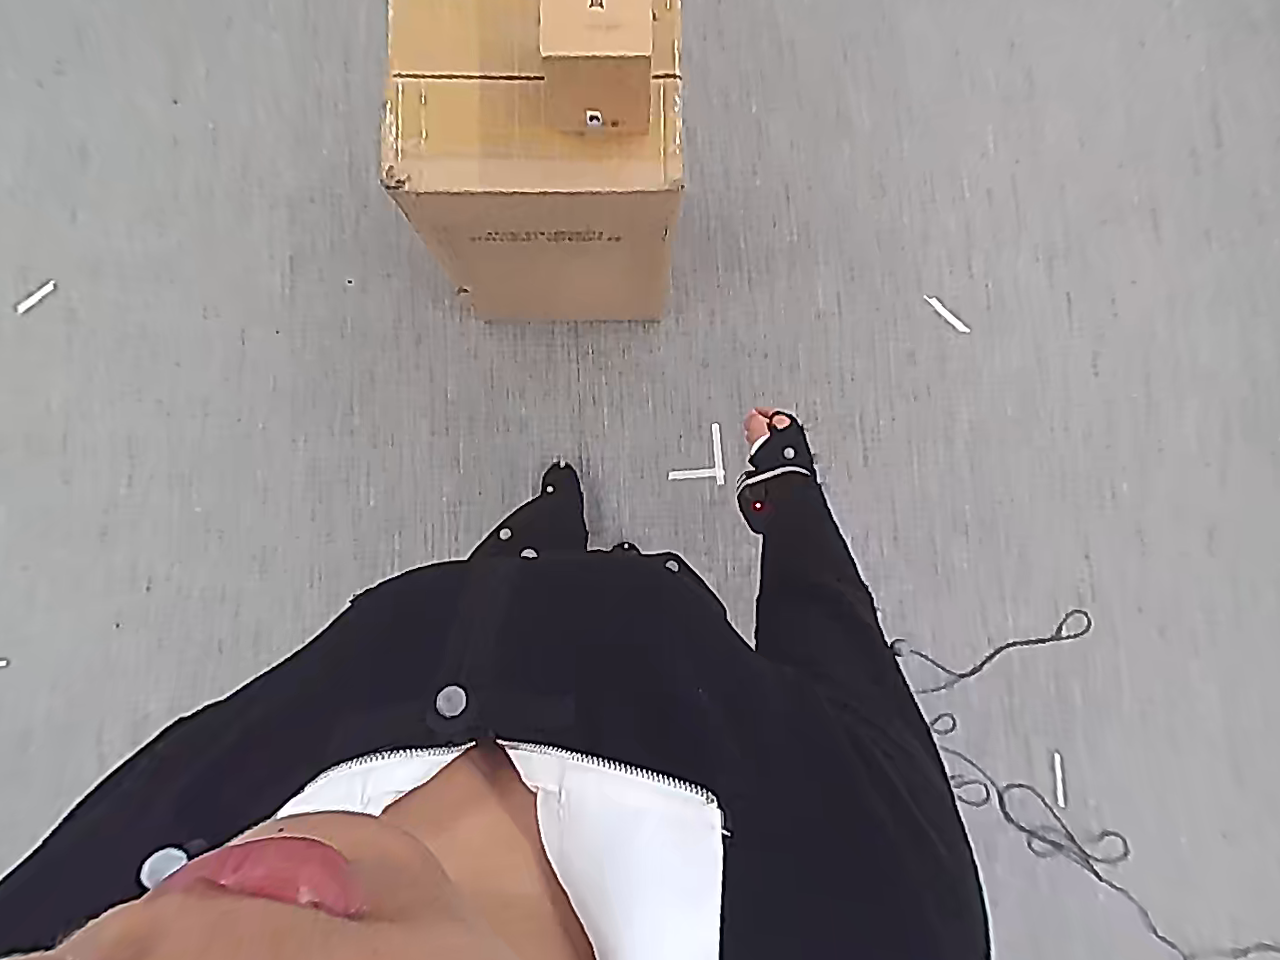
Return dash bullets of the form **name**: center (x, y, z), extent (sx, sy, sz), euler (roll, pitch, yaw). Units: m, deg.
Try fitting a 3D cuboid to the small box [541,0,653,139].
- **small box**: center (-0.063, -0.692, 0.873), extent (0.168, 0.176, 0.179), euler (-1, 88, 1)
